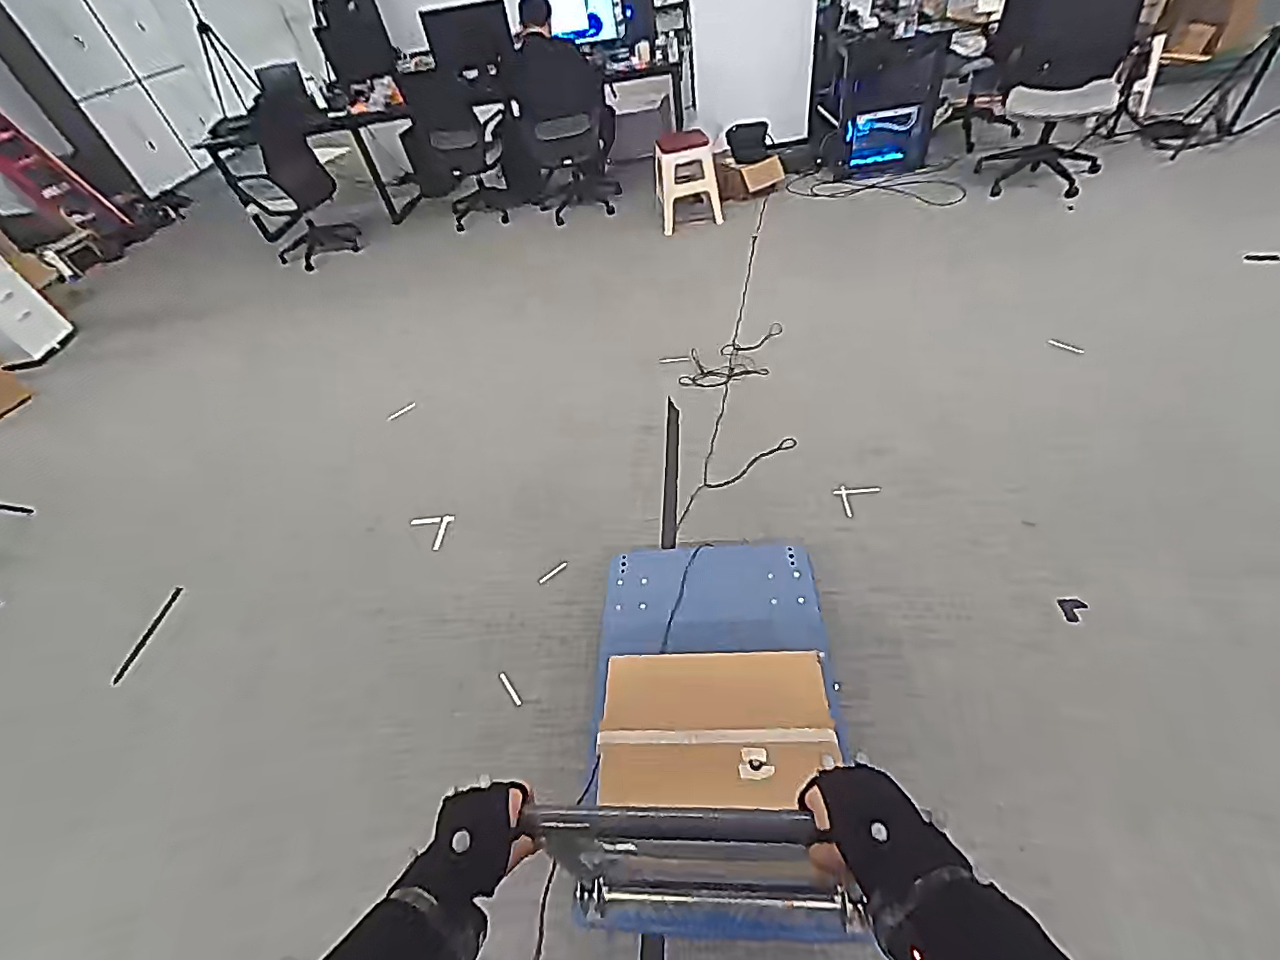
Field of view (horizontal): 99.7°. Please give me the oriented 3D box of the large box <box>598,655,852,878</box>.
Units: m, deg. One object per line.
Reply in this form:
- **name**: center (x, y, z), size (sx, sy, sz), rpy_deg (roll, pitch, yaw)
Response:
- **large box**: center (0.150, 0.558, 1.047), size (0.408, 0.320, 0.320), rpy_deg (-4, 47, 7)
